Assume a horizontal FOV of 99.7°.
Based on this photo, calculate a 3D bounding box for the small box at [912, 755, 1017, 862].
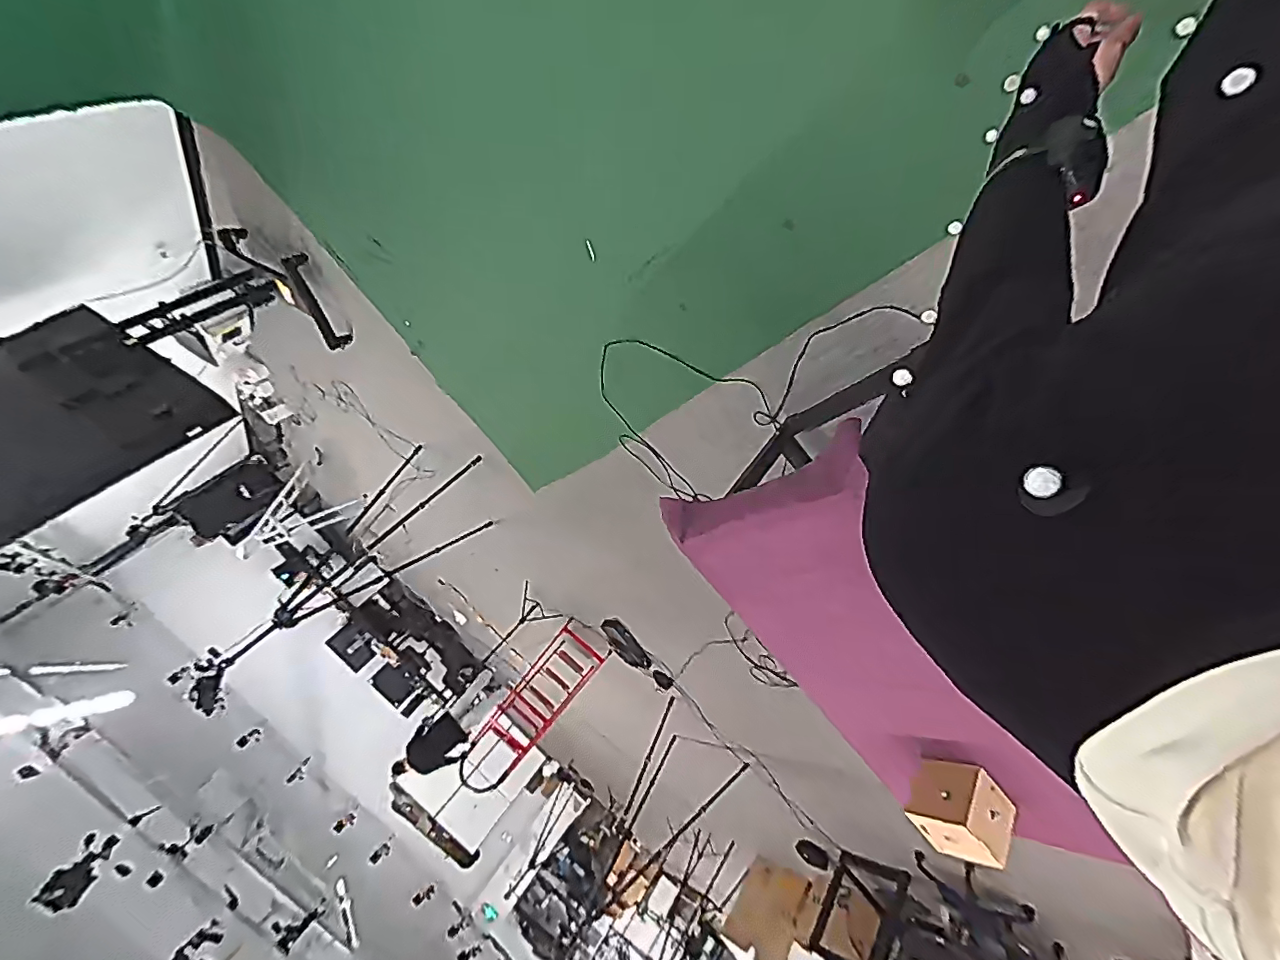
[{"bbox_3d":[0.869,0.862,1.439,0.168,0.176,0.179,49,145,-7],"label":"small box"}]
